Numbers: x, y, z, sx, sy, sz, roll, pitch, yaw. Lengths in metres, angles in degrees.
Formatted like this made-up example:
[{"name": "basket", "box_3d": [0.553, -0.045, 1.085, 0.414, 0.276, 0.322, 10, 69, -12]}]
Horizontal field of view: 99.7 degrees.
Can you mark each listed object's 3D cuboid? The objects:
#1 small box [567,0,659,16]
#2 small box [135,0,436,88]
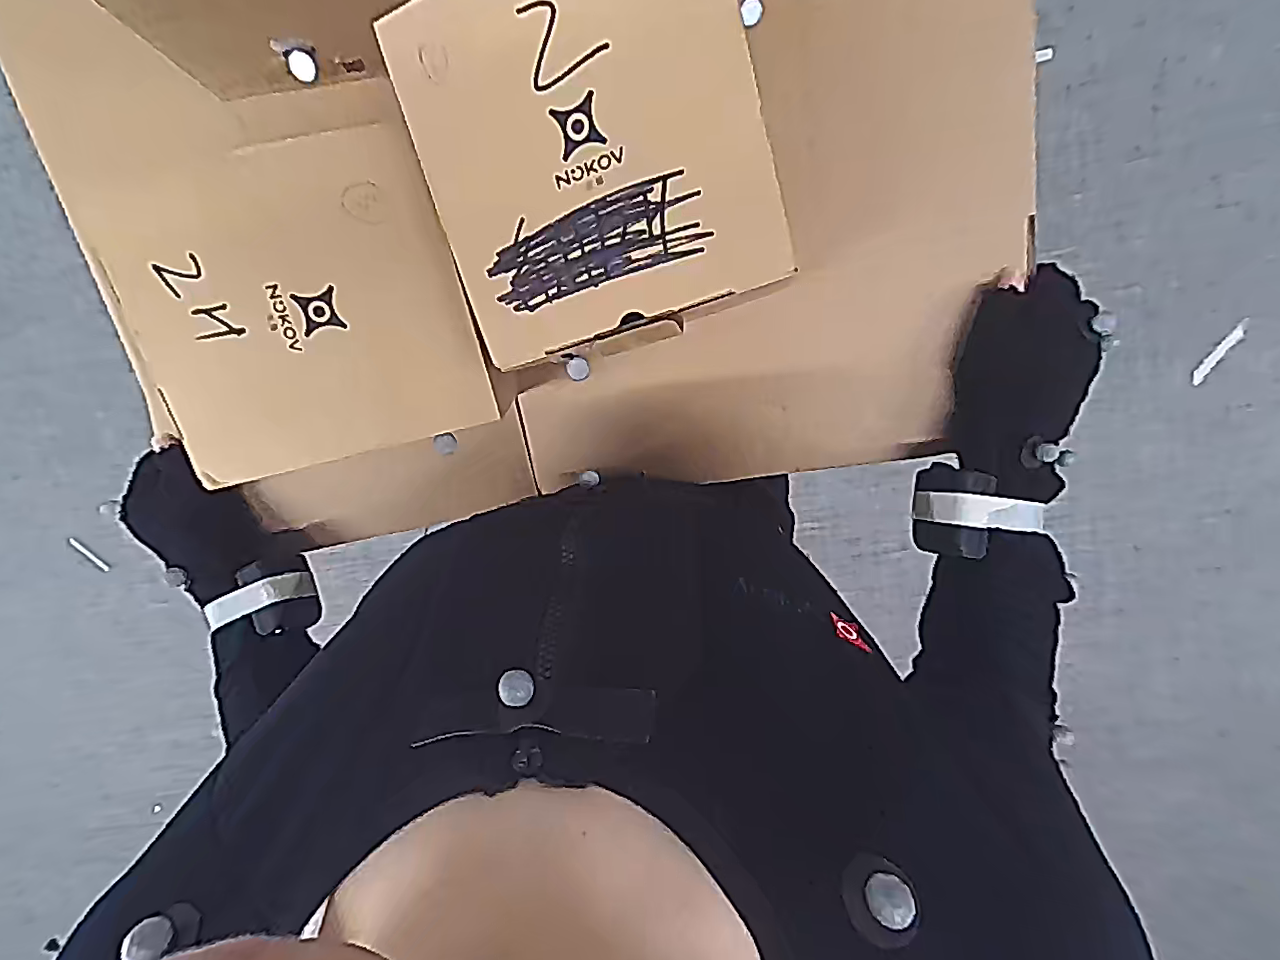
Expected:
[{"name": "small box", "box_3d": [0.003, -0.383, 0.271, 0.168, 0.176, 0.179, -7, 104, 15]}, {"name": "small box", "box_3d": [-0.234, -0.369, 0.309, 0.168, 0.176, 0.179, -13, 105, -6]}]
